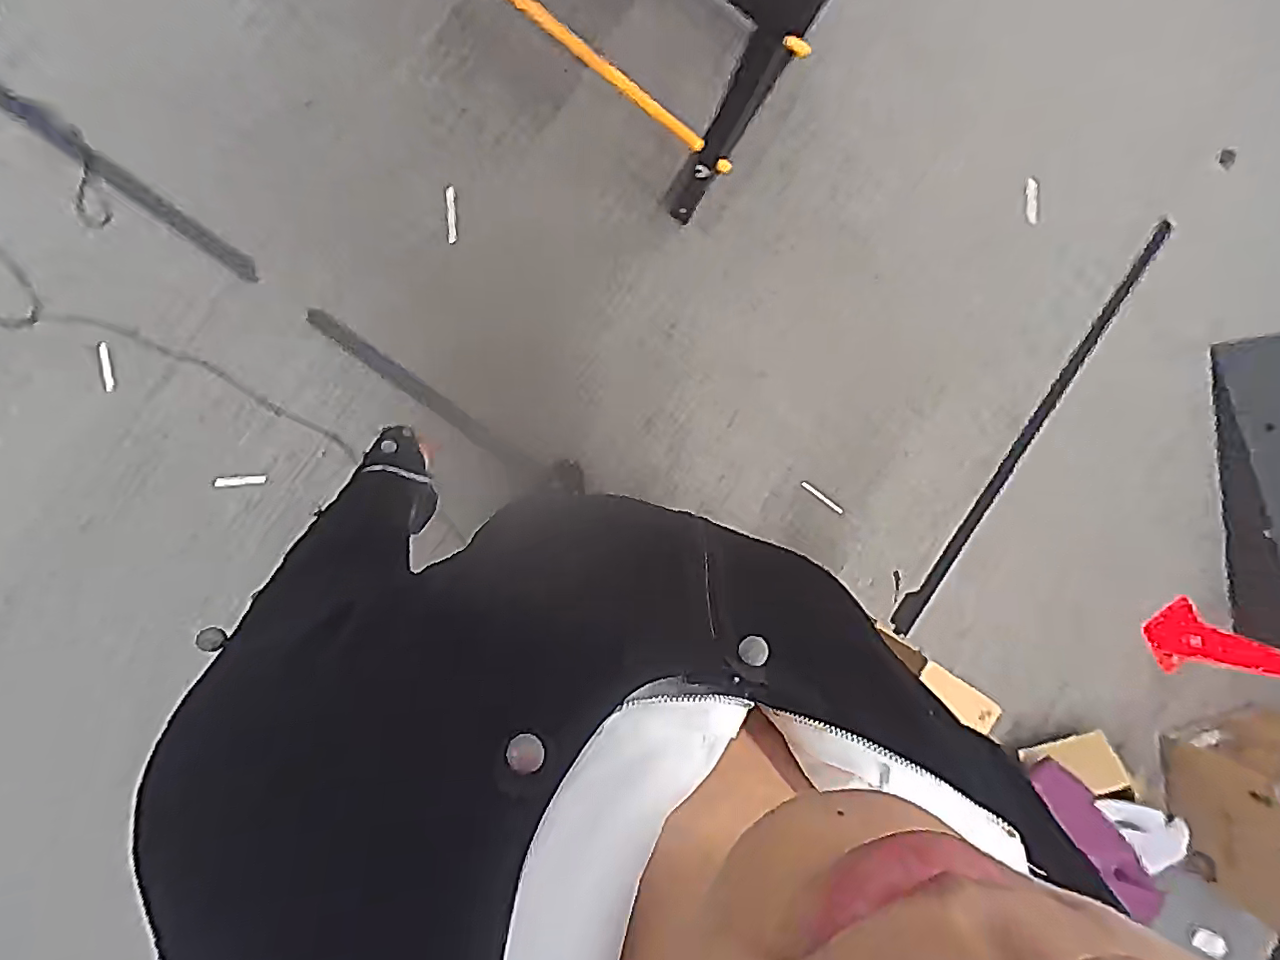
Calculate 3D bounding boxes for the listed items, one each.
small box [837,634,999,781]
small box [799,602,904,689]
[{"bbox_3d":[0.513,0.414,1.023,0.179,0.176,0.168,35,89,-8],"label":"small box"},{"bbox_3d":[0.487,0.393,1.184,0.179,0.176,0.168,38,88,-8],"label":"small box"}]
